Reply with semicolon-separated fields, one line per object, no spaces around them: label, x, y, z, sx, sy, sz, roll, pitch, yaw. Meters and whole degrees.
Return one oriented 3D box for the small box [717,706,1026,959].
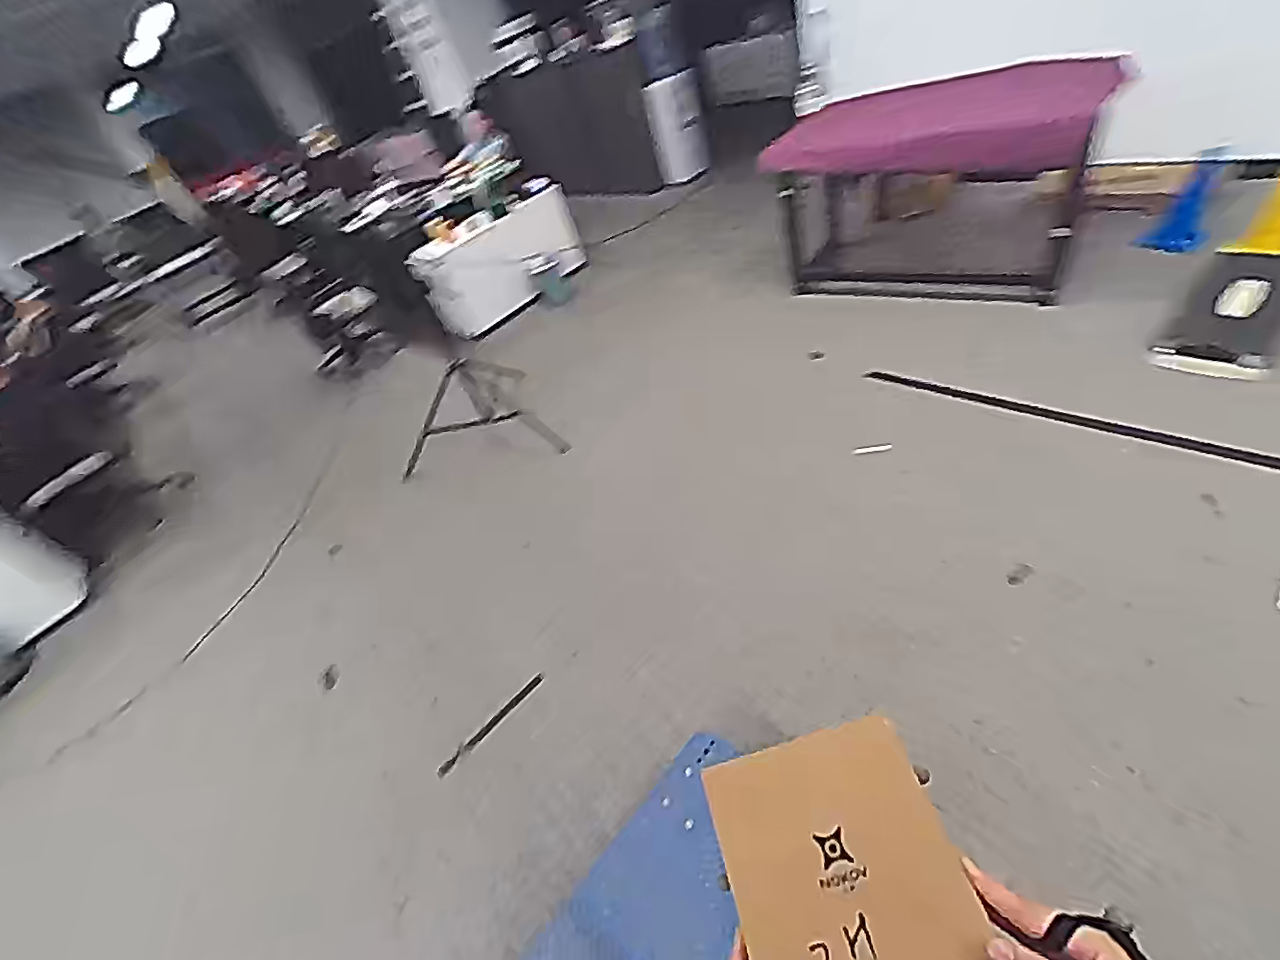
small box;0.176;0.324;0.459;0.168;0.176;0.179;-19;48;5
